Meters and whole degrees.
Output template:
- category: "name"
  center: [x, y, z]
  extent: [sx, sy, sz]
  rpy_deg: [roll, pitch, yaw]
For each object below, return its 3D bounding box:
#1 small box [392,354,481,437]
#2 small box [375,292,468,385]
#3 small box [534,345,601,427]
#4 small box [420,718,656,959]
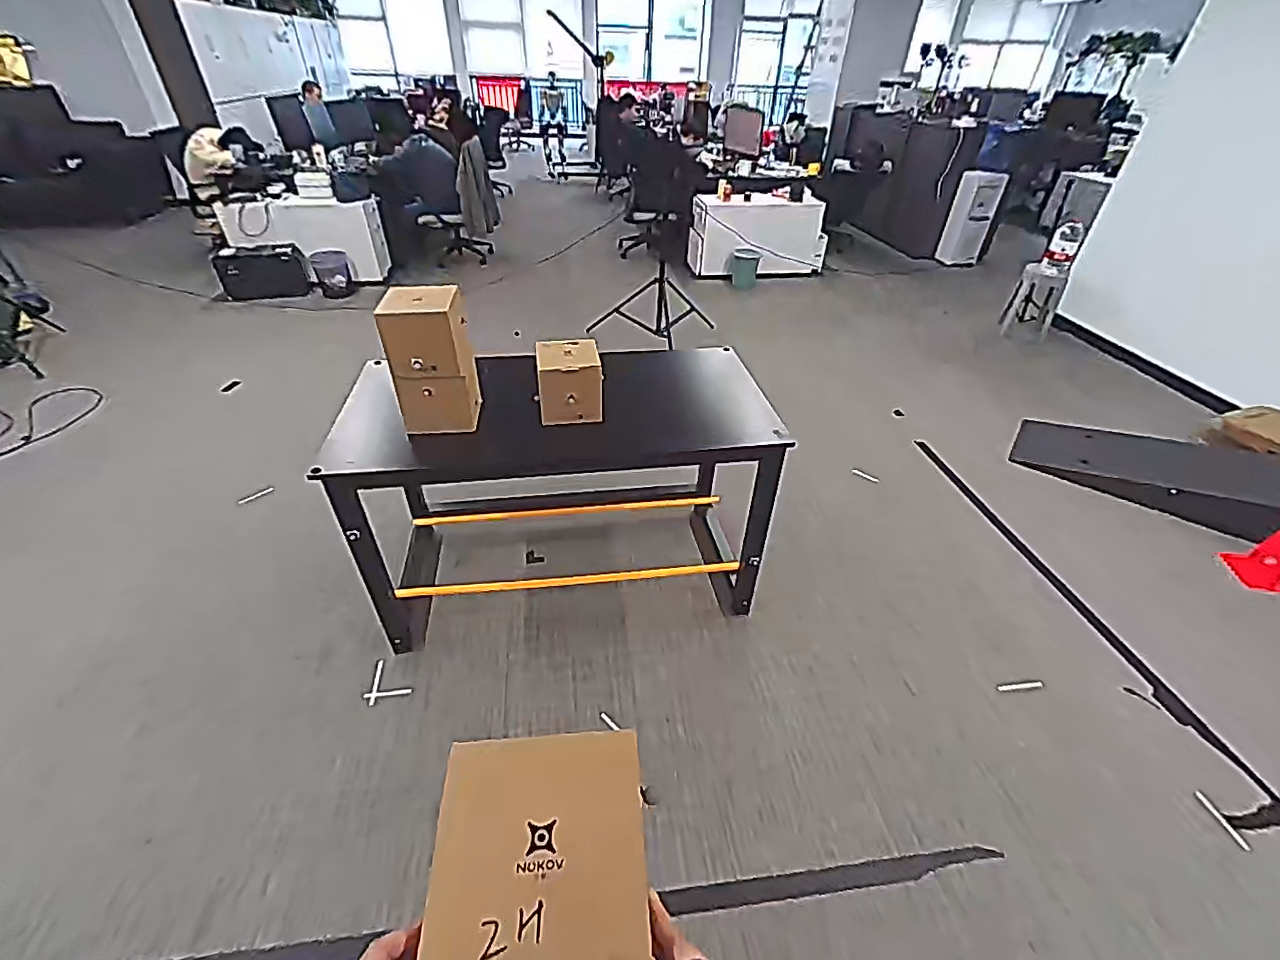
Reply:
- category: "small box"
  center: [-0.532, -0.224, 1.438]
  extent: [0.179, 0.176, 0.168]
  rpy_deg: [-3, 38, -7]
- category: "small box"
  center: [-0.530, -0.351, 1.337]
  extent: [0.168, 0.176, 0.179]
  rpy_deg: [-5, 39, -7]
- category: "small box"
  center: [-0.201, -0.257, 1.498]
  extent: [0.168, 0.176, 0.179]
  rpy_deg: [-5, 38, -9]
- category: "small box"
  center: [-0.077, 0.340, 0.486]
  extent: [0.168, 0.176, 0.179]
  rpy_deg: [-3, 44, -3]
